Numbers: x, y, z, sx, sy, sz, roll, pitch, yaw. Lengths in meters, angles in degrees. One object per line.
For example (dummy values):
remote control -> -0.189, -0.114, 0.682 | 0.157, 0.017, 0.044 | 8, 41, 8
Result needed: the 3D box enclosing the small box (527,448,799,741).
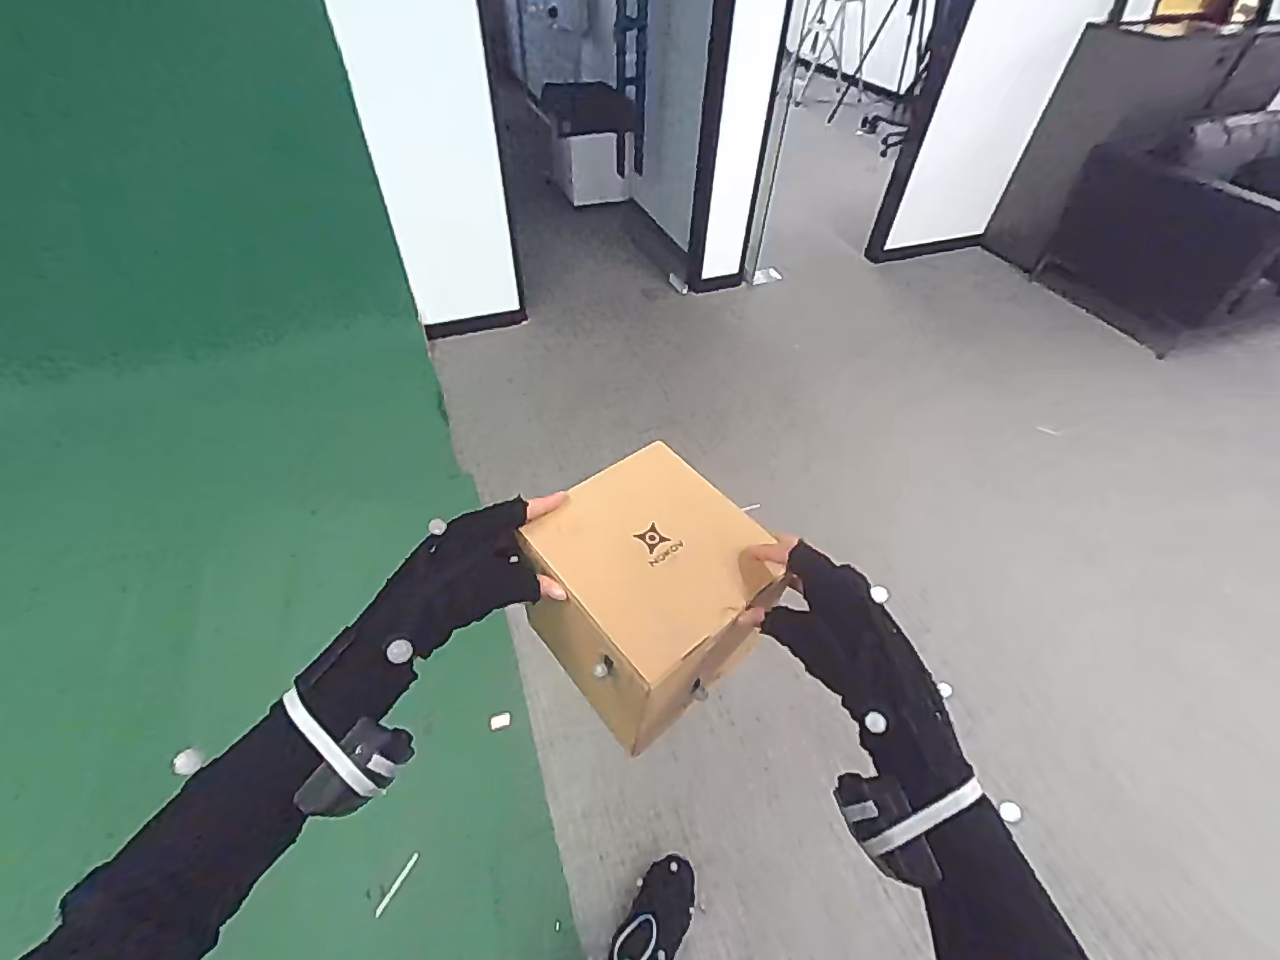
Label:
small box -> 0.010, 0.107, 0.511 | 0.168, 0.176, 0.179 | -30, 58, -29
